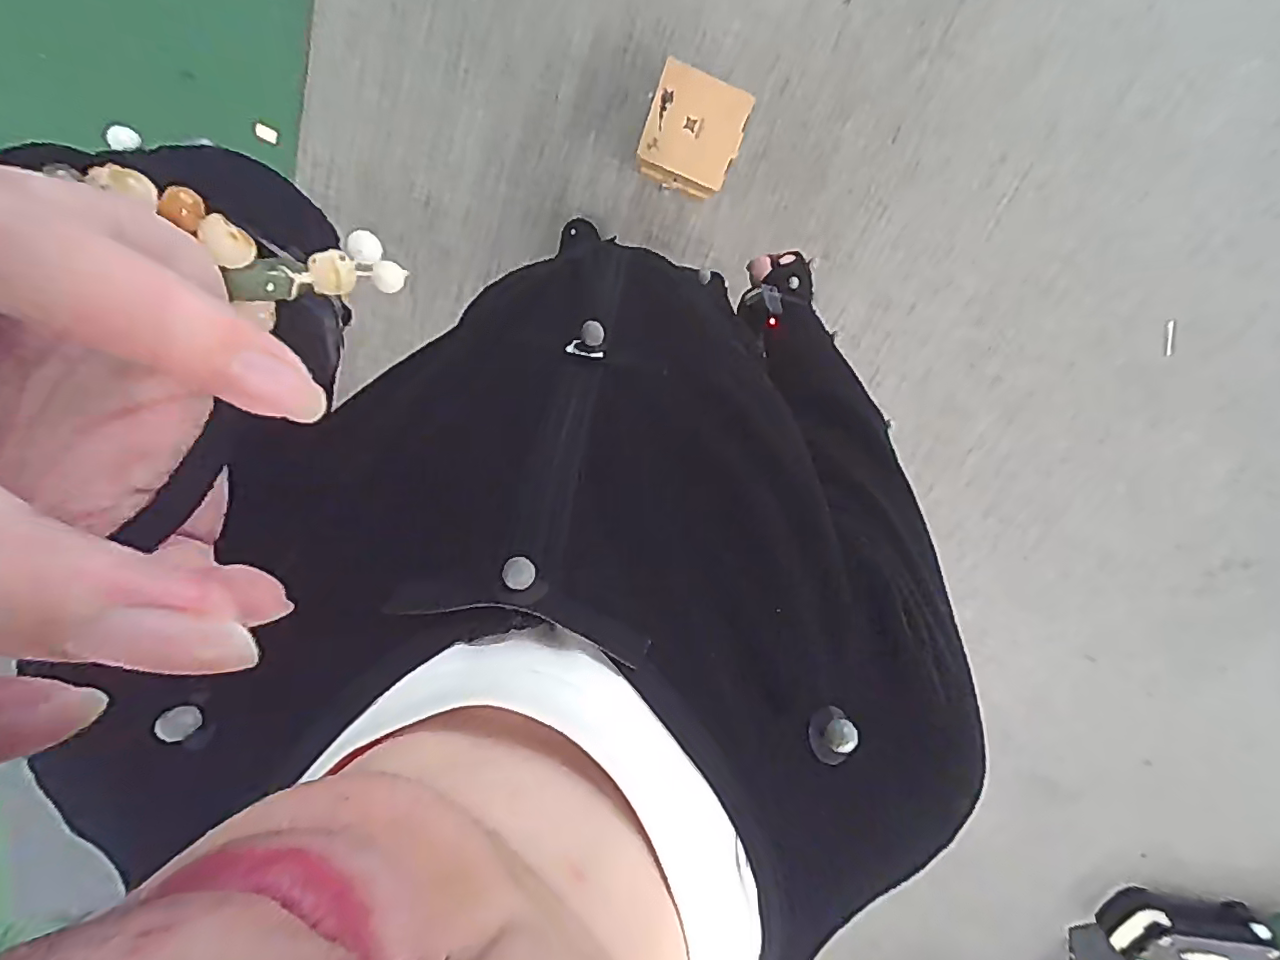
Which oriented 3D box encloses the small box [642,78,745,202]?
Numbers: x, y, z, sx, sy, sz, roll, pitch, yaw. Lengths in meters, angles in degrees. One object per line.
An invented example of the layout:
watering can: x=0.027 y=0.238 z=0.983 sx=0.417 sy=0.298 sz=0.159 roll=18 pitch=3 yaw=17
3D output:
small box: x=0.112 y=-0.747 z=1.211 sx=0.168 sy=0.176 sz=0.179 roll=22 pitch=114 yaw=-7
